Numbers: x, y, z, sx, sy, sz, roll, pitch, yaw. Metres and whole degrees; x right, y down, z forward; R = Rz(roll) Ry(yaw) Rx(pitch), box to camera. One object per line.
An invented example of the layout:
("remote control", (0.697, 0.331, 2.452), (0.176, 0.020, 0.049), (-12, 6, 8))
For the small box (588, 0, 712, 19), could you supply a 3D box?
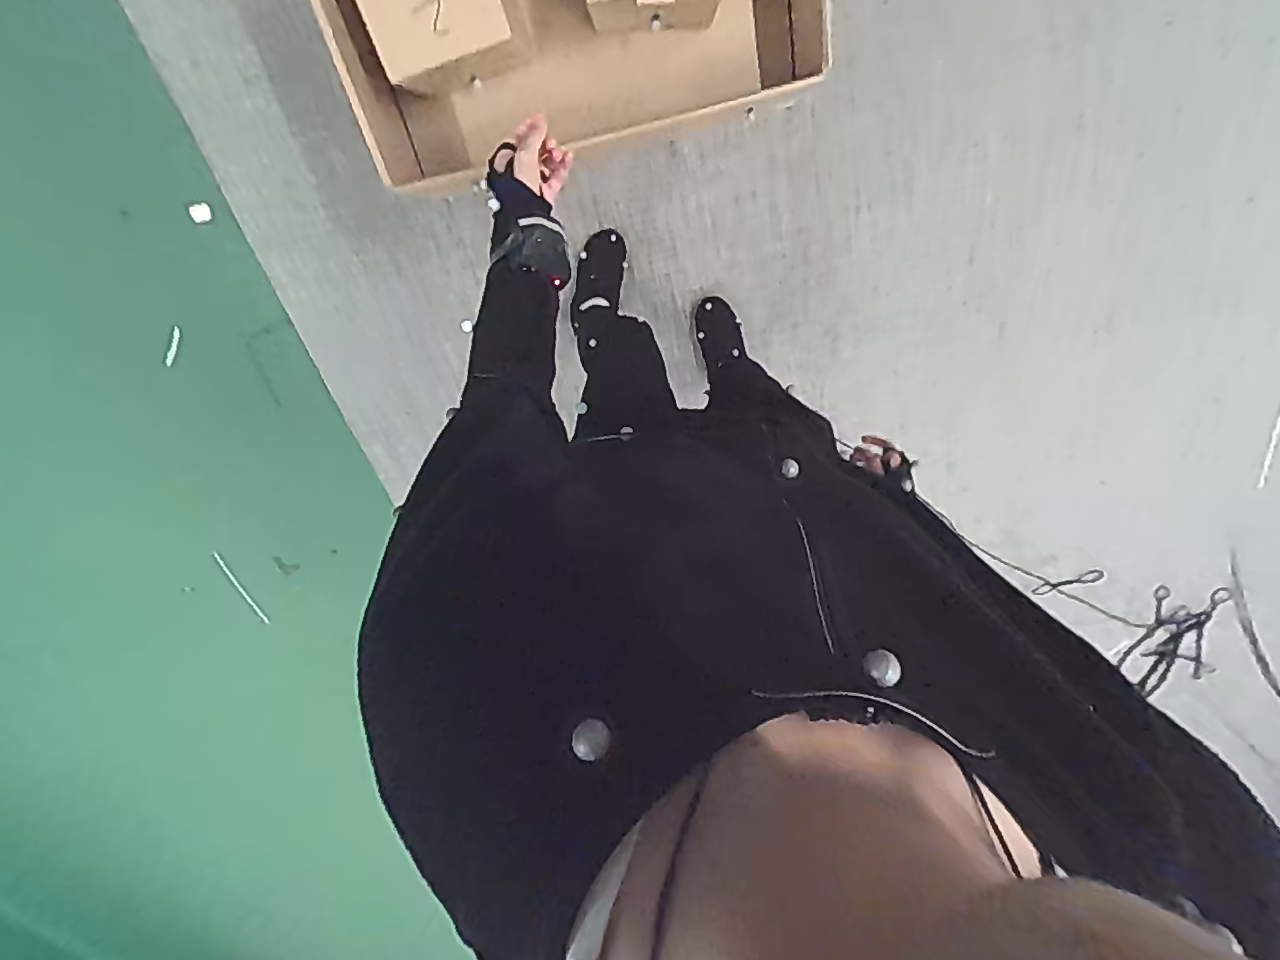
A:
("small box", (0.013, -0.678, 0.646), (0.168, 0.176, 0.179), (-1, 120, 2))
